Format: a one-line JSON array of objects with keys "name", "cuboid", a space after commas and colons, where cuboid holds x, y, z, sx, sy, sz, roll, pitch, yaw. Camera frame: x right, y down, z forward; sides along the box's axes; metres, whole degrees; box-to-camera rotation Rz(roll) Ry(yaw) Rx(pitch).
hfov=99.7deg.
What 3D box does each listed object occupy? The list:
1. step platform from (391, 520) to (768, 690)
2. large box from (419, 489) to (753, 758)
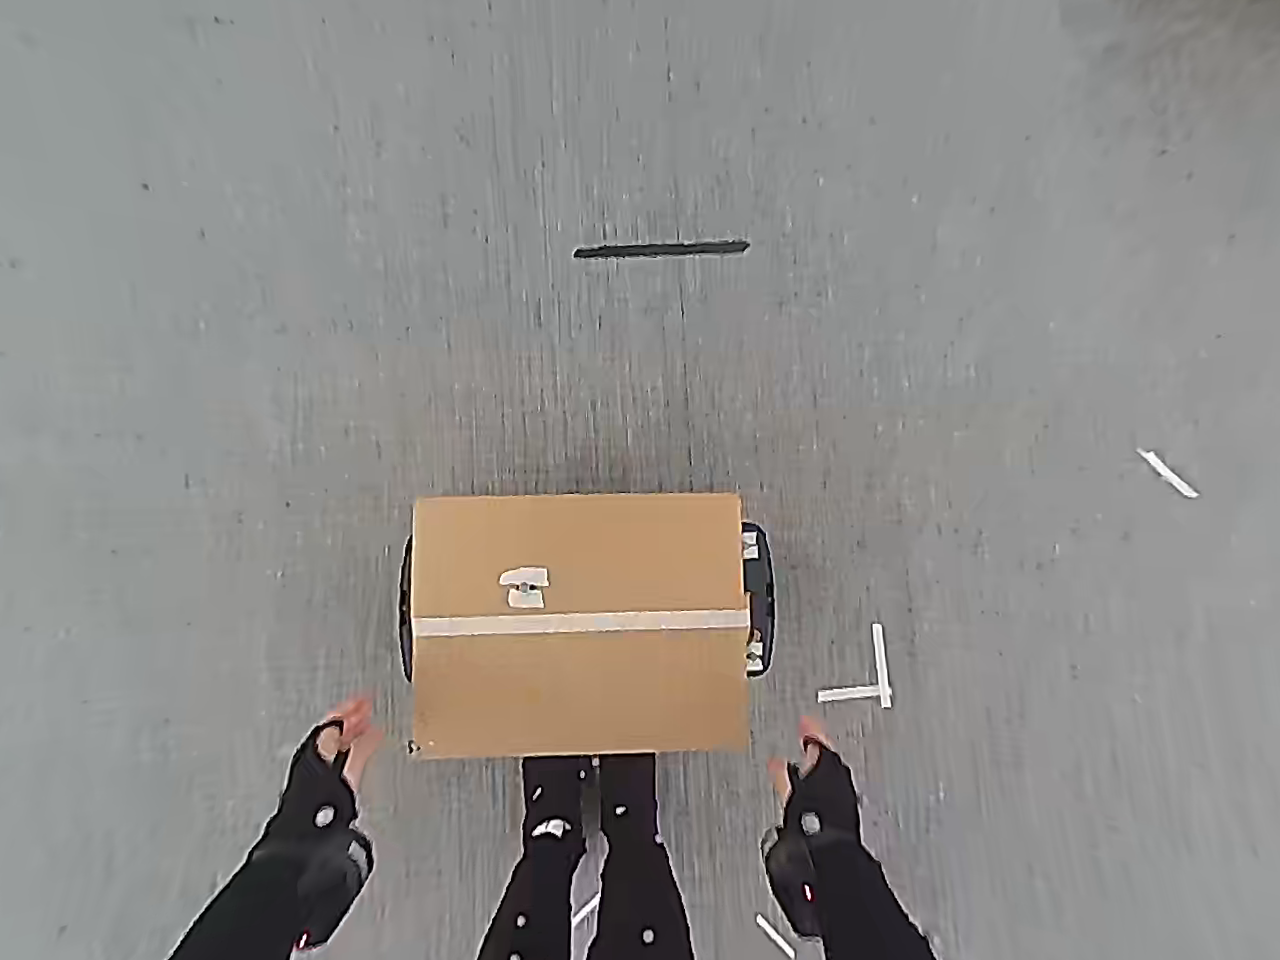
[{"name": "step platform", "cuboid": [-0.104, 0.232, 1.036, 0.684, 0.204, 0.286, 4, 85, -1]}, {"name": "large box", "cuboid": [-0.067, 0.183, 0.802, 0.408, 0.320, 0.320, -1, 84, -1]}]
